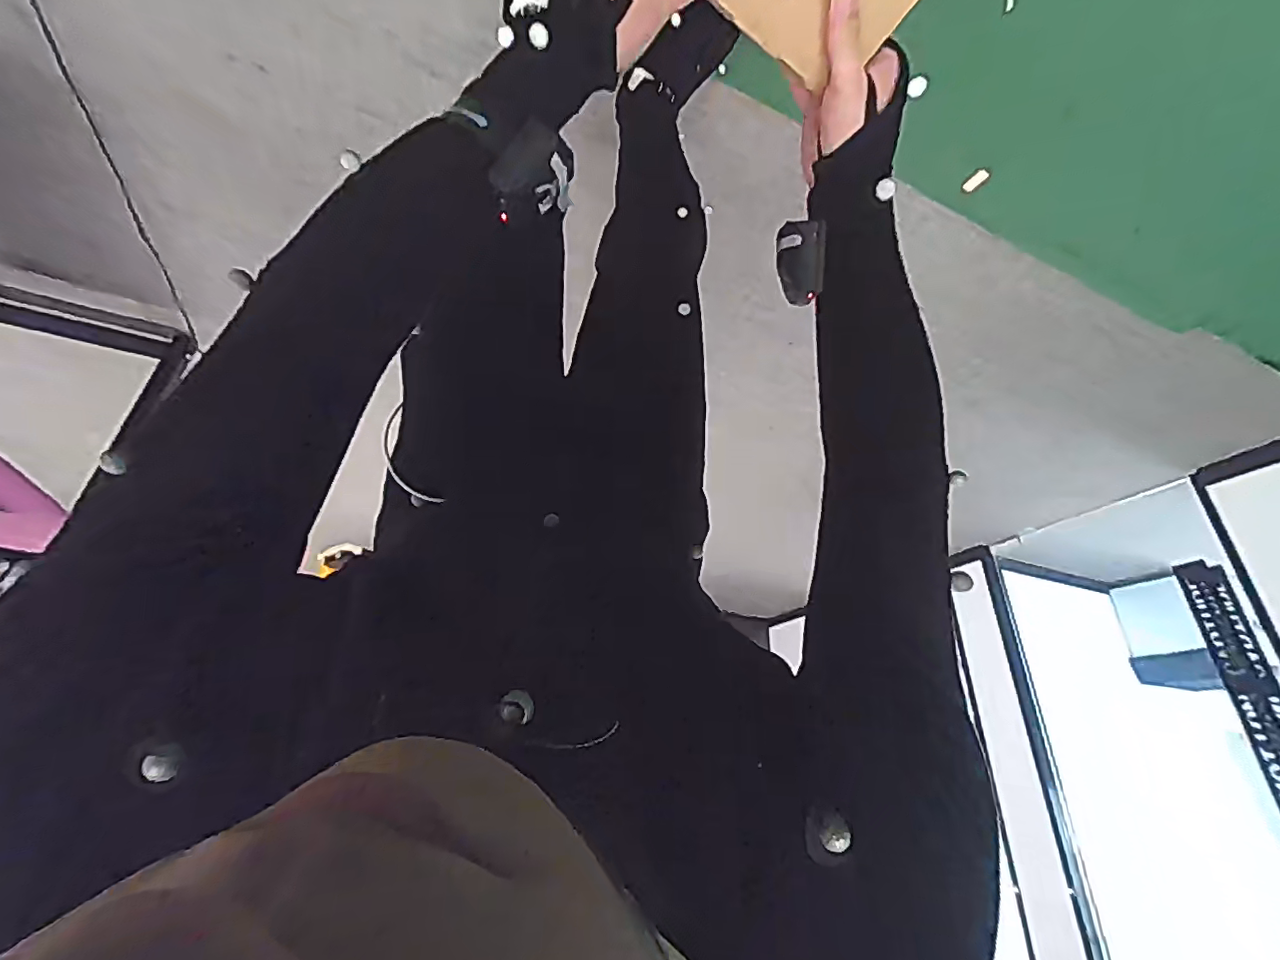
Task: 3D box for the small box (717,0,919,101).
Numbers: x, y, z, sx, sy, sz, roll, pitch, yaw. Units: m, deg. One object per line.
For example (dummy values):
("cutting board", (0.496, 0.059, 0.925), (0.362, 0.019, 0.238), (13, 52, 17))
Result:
("small box", (0.132, -0.437, 0.387), (0.168, 0.176, 0.179), (18, 142, -28))
